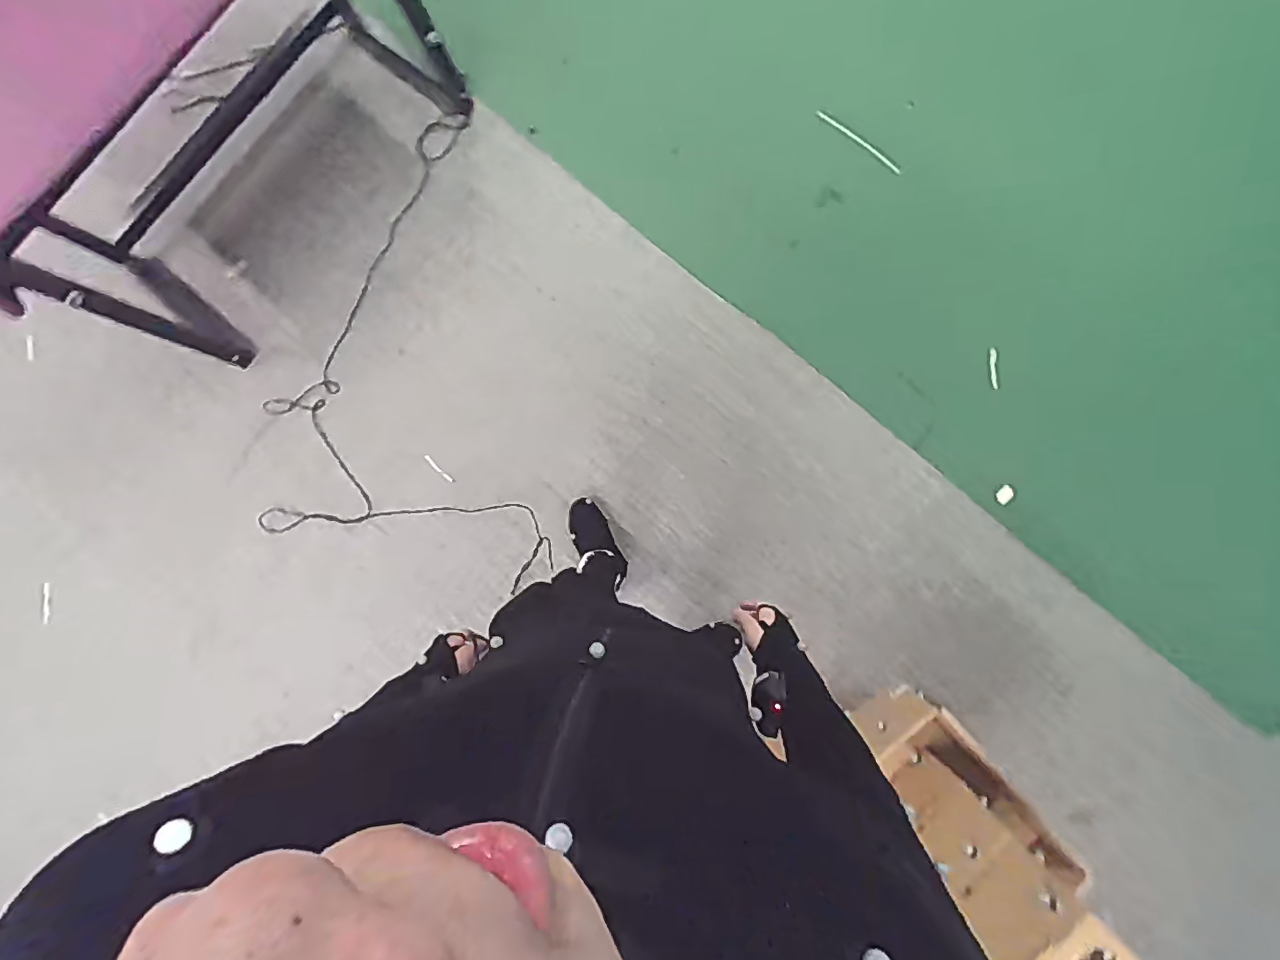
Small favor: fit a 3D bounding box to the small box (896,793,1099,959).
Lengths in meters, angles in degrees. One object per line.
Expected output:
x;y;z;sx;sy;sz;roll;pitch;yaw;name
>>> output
0.562;0.660;0.877;0.168;0.176;0.179;-43;83;-2;small box
